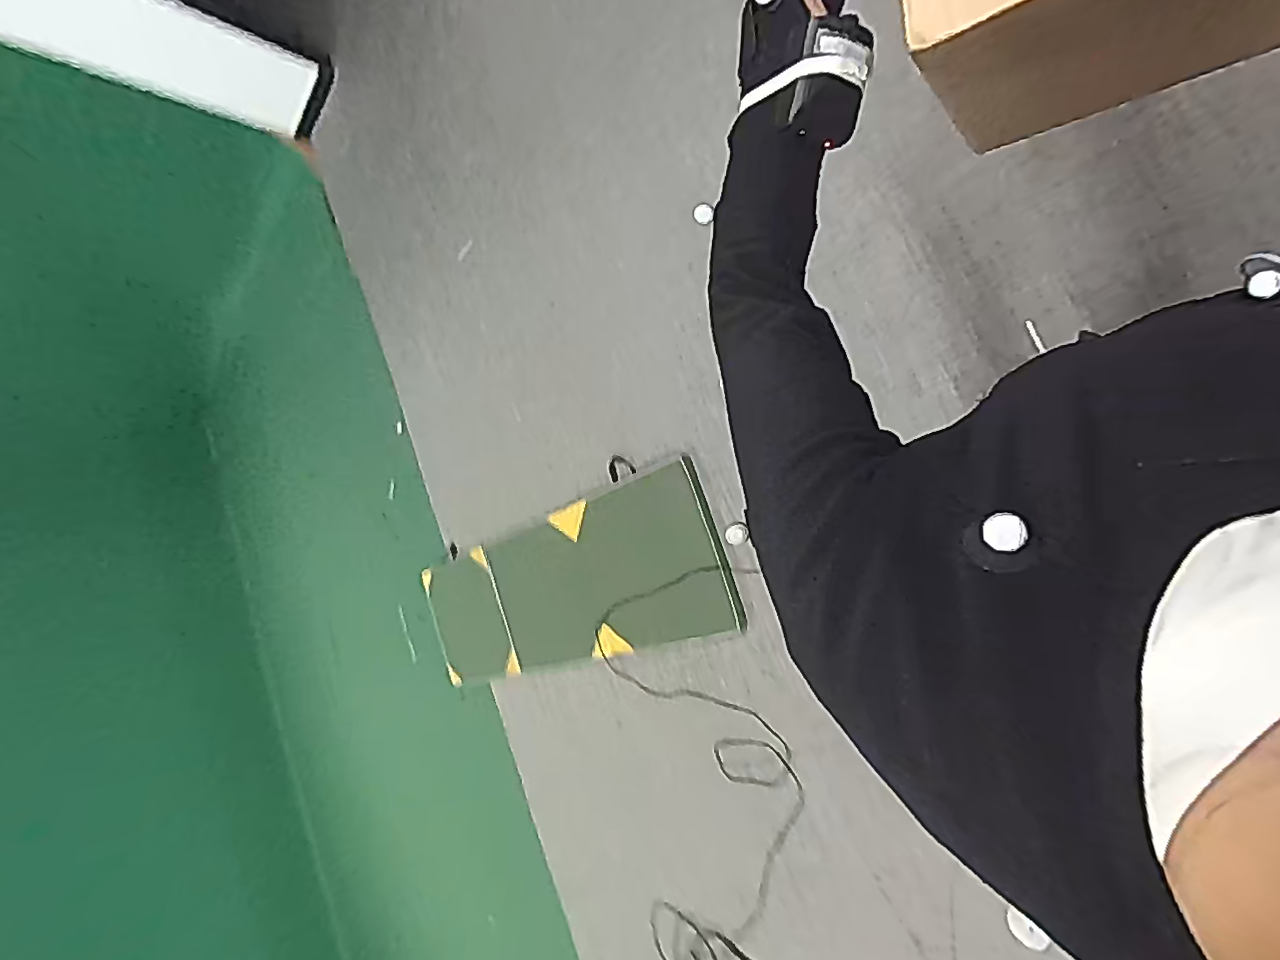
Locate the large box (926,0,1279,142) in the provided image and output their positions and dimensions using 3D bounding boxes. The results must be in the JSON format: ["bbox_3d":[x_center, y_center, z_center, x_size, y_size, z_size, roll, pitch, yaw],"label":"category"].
[{"bbox_3d":[0.408,-0.498,0.342,0.408,0.320,0.320,-5,101,39],"label":"large box"}]
